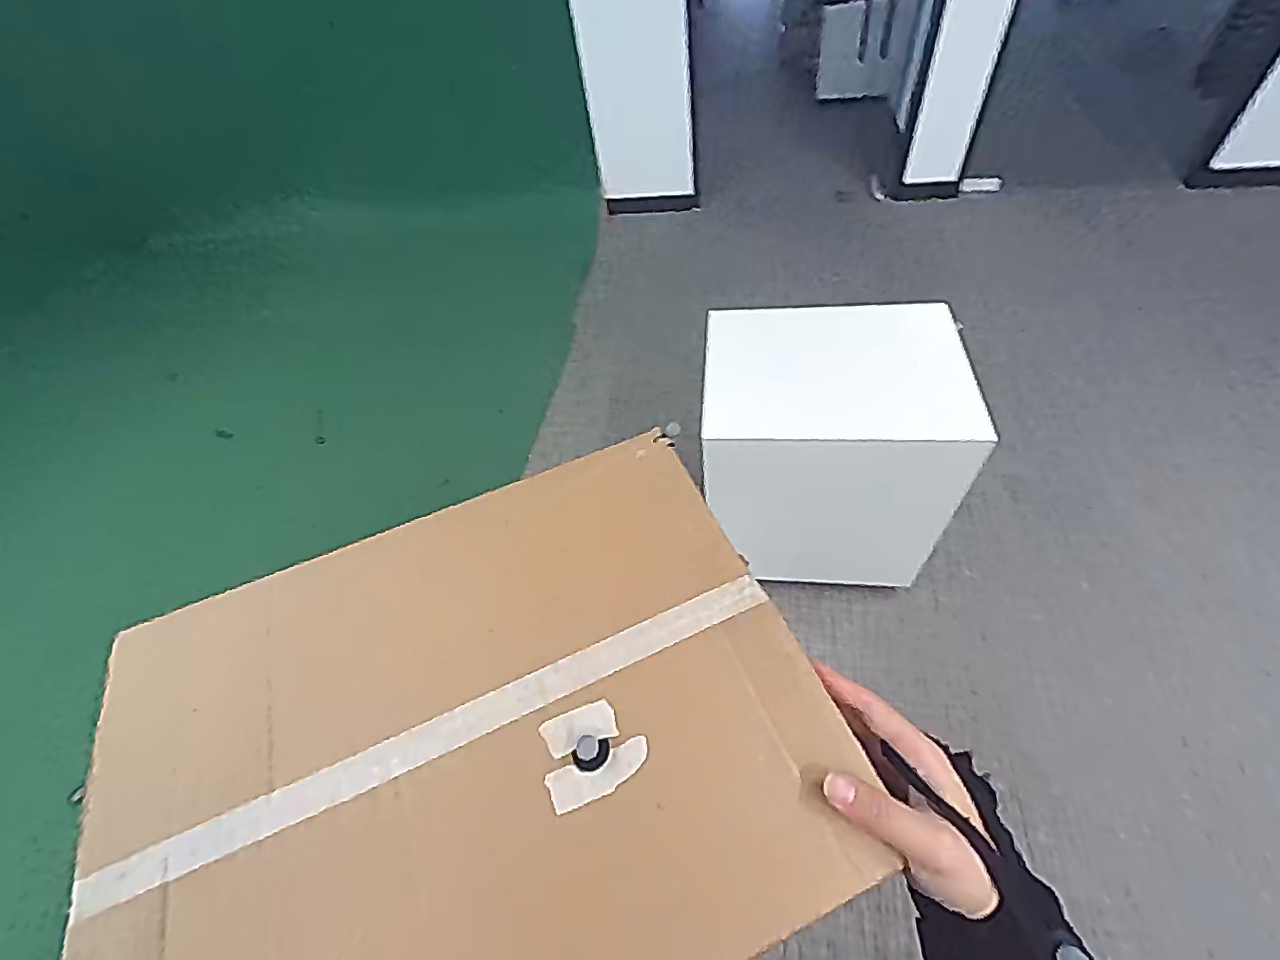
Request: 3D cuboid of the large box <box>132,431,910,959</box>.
[{"bbox_3d":[-0.084,0.225,0.456,0.408,0.320,0.320,-21,57,-11],"label":"large box"}]
